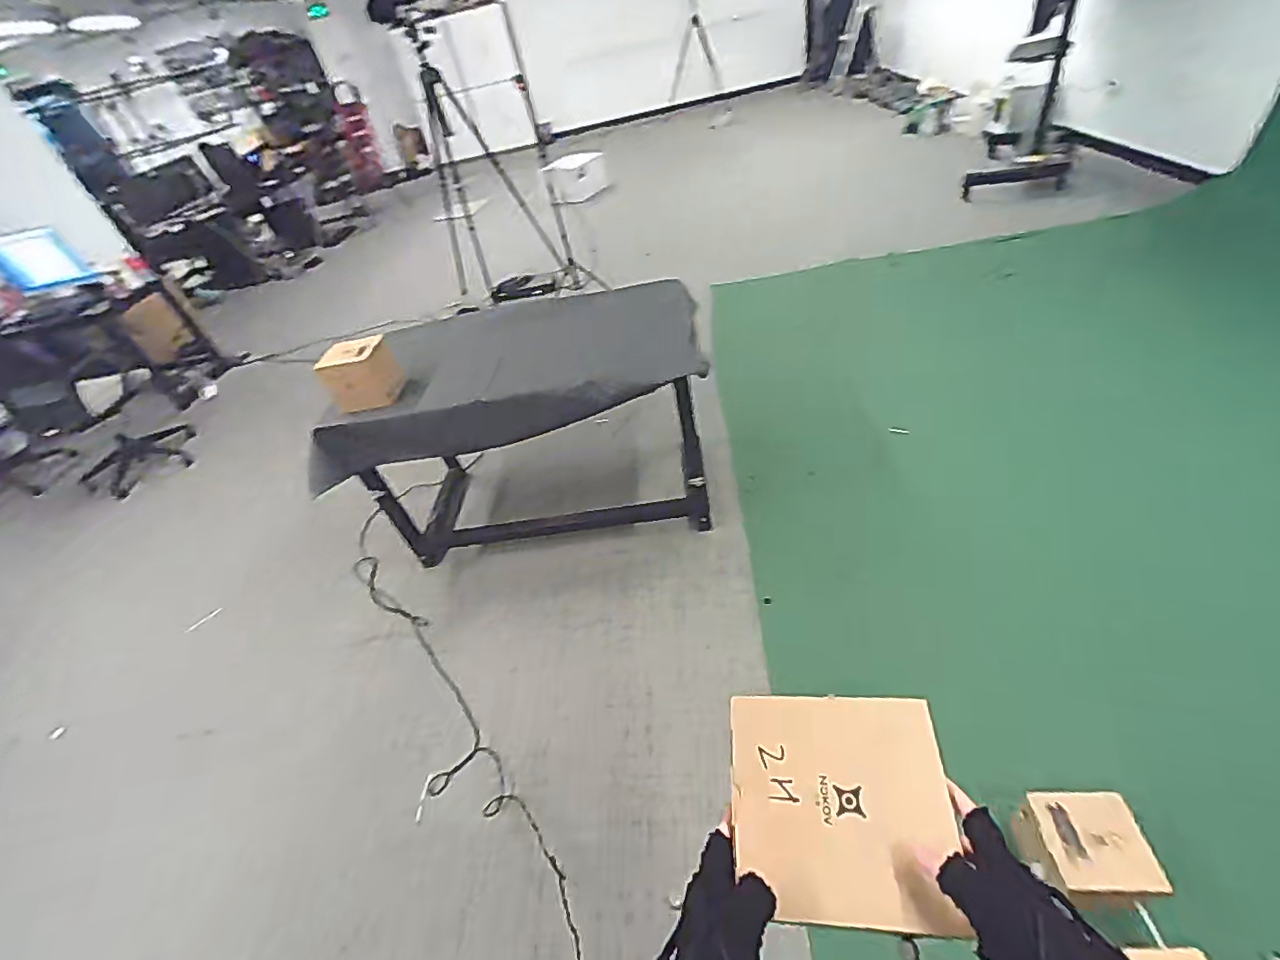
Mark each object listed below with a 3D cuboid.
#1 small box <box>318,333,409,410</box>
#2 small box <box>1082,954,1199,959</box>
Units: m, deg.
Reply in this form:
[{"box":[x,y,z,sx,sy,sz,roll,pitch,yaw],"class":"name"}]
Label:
[{"box":[-0.875,-0.344,1.732,0.179,0.176,0.168,-8,41,8],"class":"small box"},{"box":[0.871,0.927,0.920,0.179,0.176,0.168,-8,42,9],"class":"small box"}]
